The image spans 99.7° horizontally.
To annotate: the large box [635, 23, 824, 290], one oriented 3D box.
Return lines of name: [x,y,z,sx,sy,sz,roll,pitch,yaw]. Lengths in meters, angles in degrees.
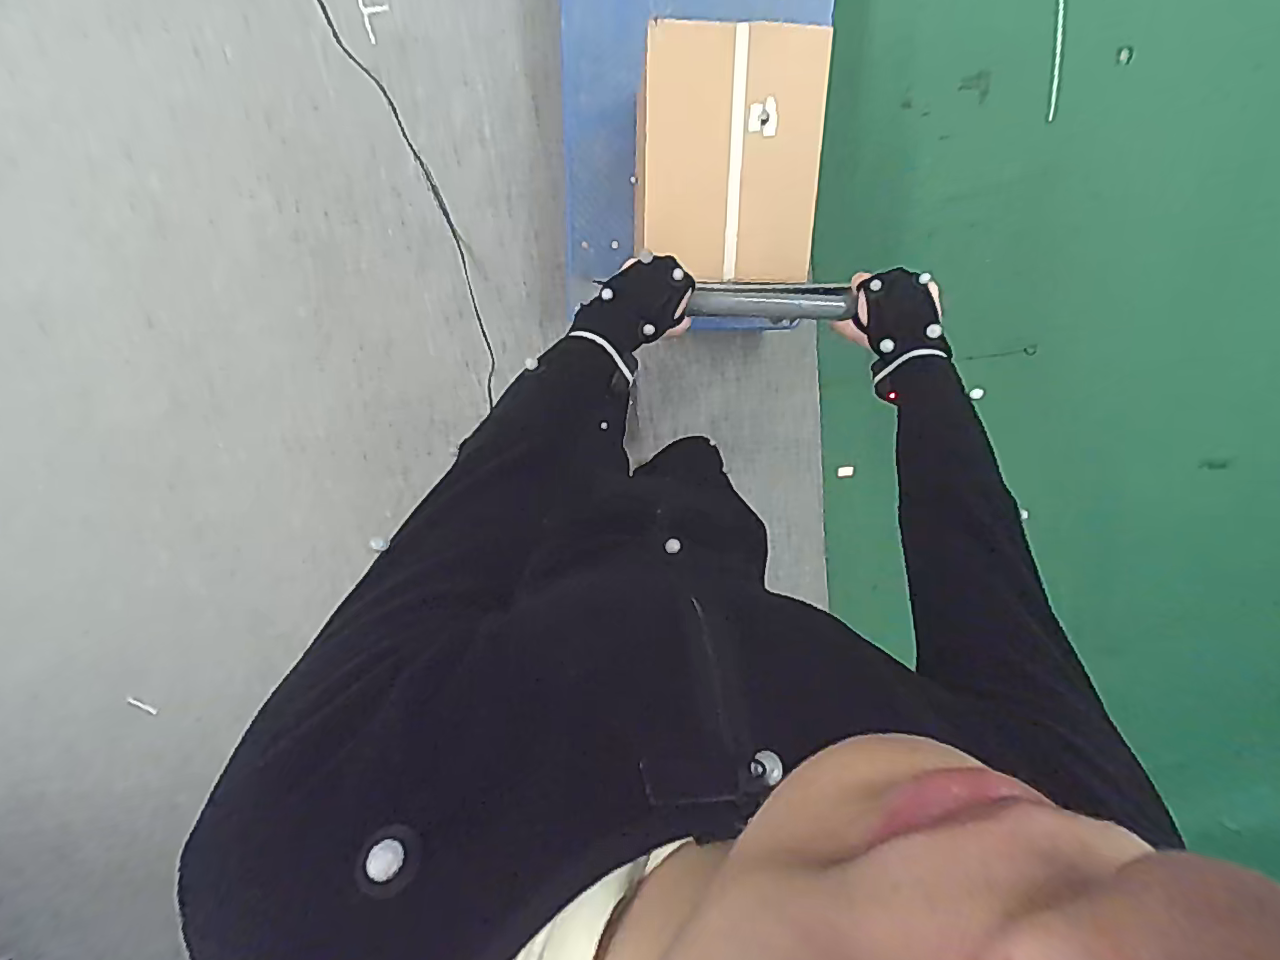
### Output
large box: [0.151,-0.606,1.097,0.320,0.320,0.408,-1,107,-4]
